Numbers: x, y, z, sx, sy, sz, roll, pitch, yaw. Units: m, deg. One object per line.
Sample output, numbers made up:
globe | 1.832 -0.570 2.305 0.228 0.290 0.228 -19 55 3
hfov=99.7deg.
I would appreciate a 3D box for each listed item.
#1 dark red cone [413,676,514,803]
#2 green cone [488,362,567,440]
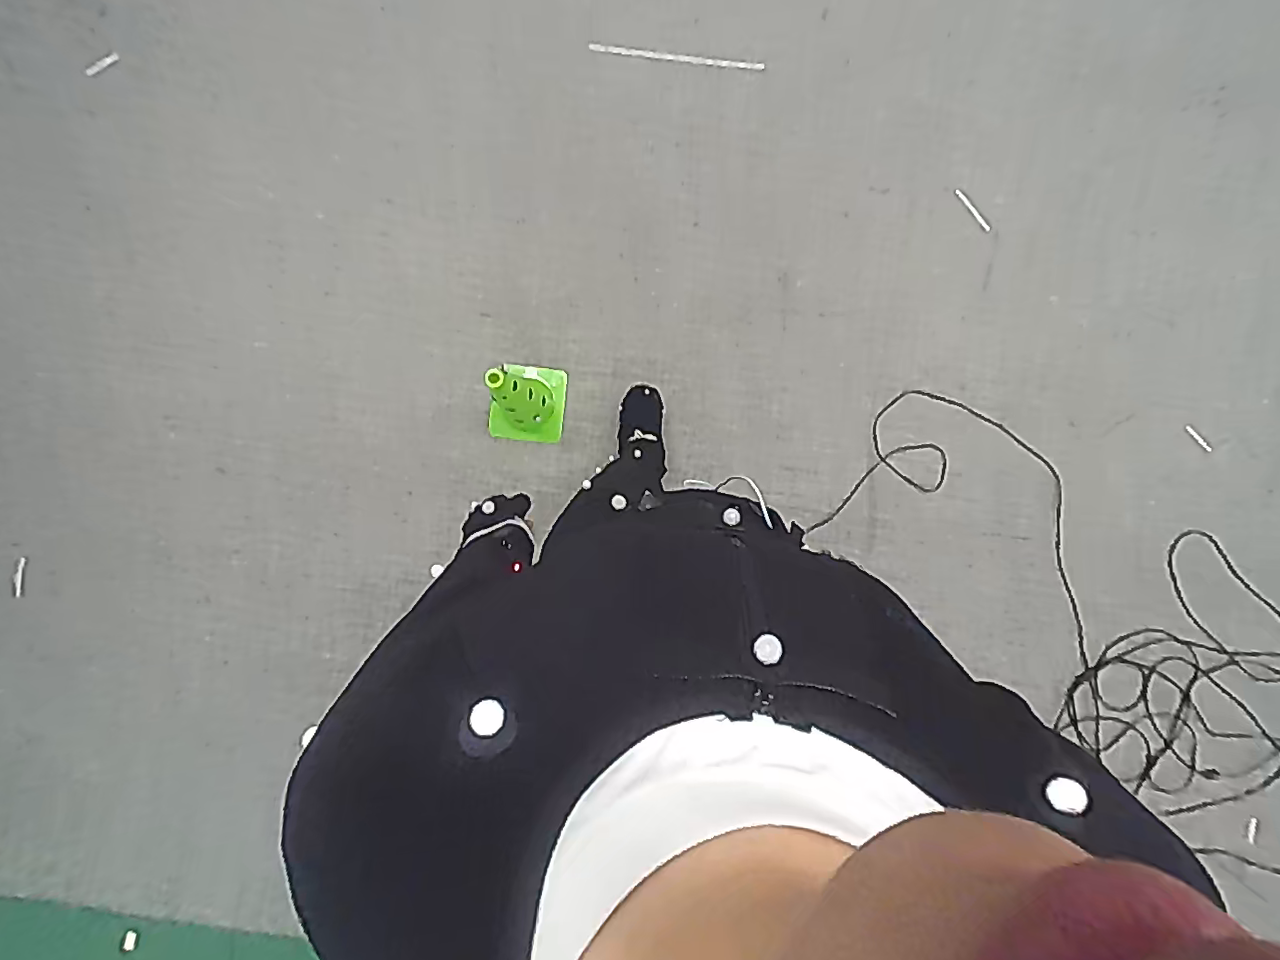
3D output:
dark red cone | -0.439 0.624 1.276 0.202 0.394 0.201 2 92 0
green cone | -0.301 -0.211 1.296 0.202 0.368 0.200 6 91 -1
